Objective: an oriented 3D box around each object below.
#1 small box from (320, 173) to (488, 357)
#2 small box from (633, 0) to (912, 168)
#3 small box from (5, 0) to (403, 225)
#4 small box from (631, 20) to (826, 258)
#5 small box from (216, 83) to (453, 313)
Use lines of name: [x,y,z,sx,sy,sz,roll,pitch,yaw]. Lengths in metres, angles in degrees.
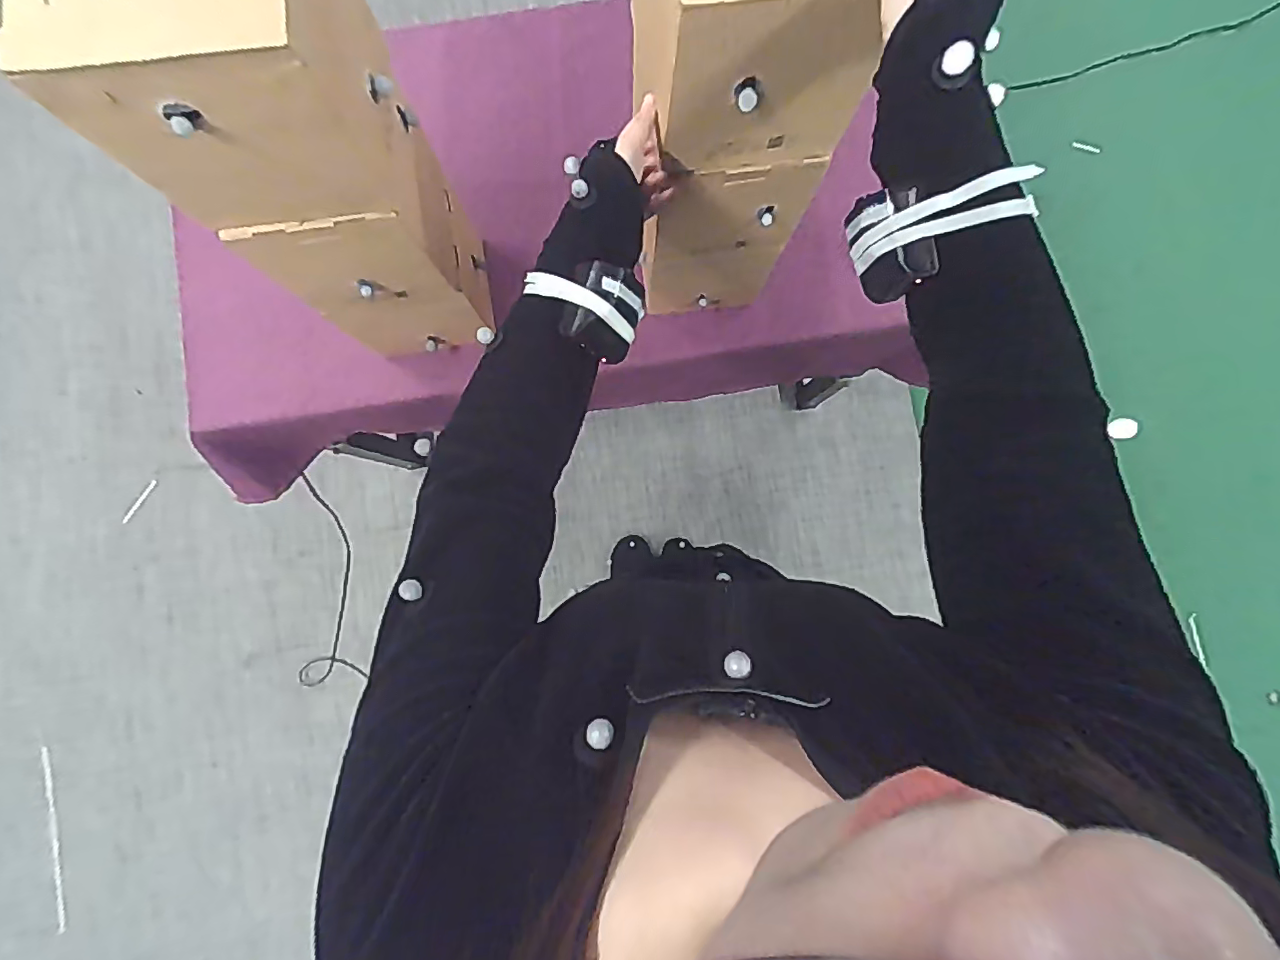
small box: [-0.318,-0.284,0.746,0.179,0.176,0.168,-11,85,-2]
small box: [0.087,-0.379,0.430,0.168,0.176,0.179,-9,85,-3]
small box: [-0.309,-0.321,0.418,0.179,0.176,0.168,-7,85,-2]
small box: [0.083,-0.364,0.593,0.168,0.176,0.179,-9,85,-2]
small box: [-0.316,-0.304,0.582,0.168,0.176,0.179,-9,85,-1]
